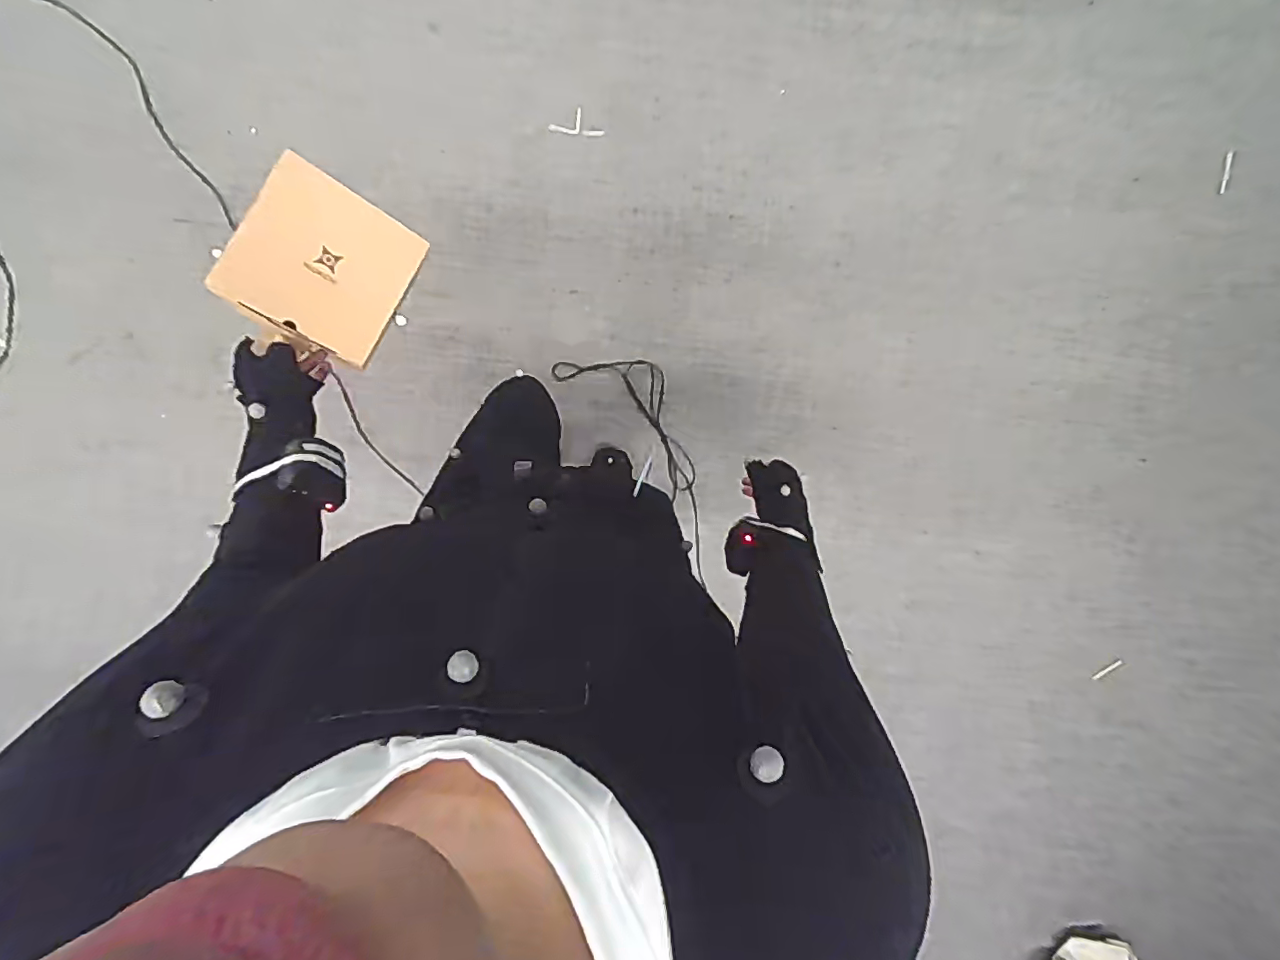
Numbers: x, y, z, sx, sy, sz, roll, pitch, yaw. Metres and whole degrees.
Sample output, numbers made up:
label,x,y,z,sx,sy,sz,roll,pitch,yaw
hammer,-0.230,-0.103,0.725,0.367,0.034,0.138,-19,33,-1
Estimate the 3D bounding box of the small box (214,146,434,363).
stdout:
label,x,y,z,sx,sy,sz,roll,pitch,yaw
small box,-0.388,-0.264,0.682,0.168,0.176,0.179,29,86,-29
